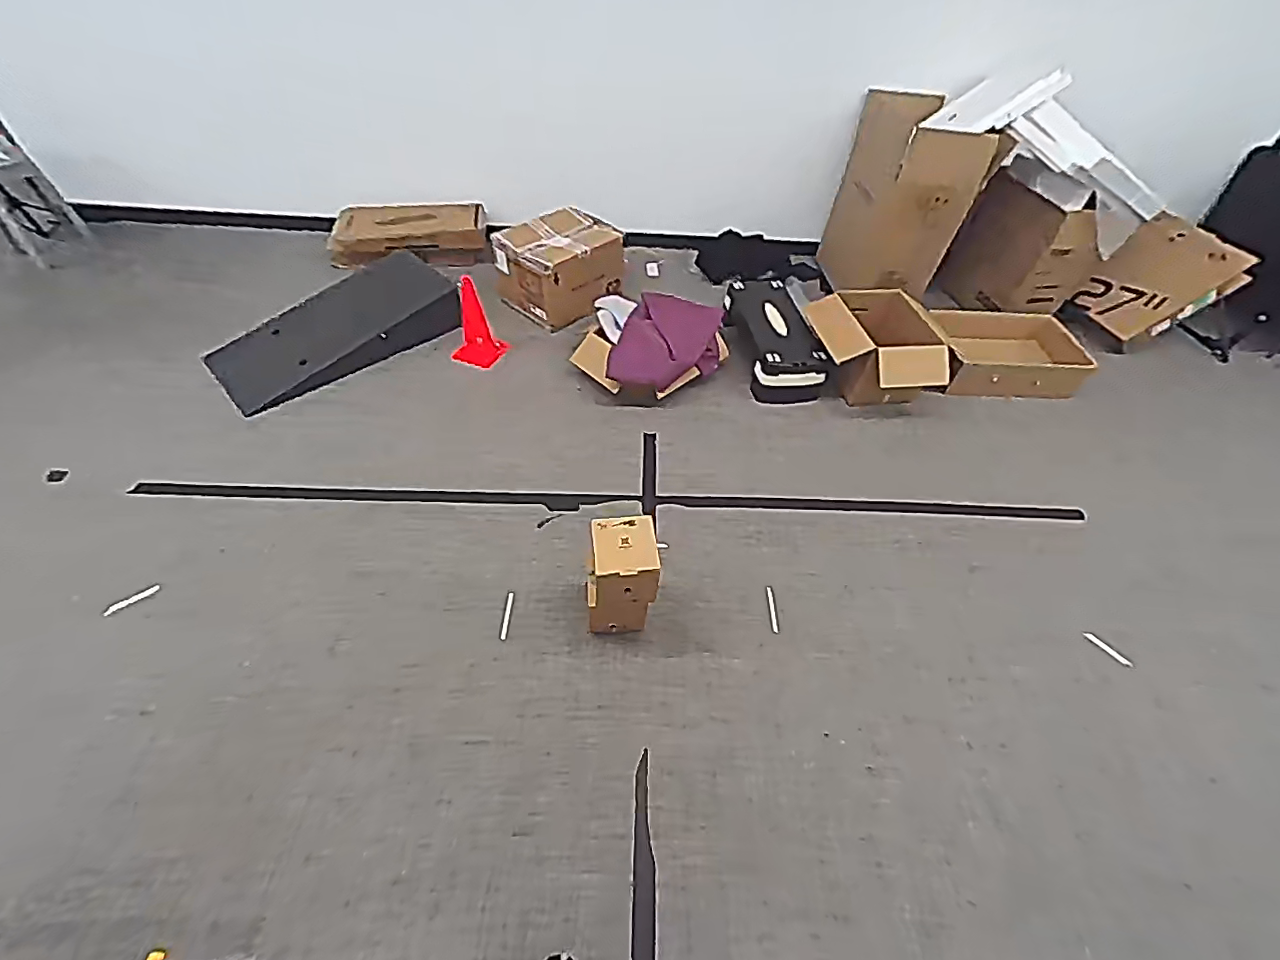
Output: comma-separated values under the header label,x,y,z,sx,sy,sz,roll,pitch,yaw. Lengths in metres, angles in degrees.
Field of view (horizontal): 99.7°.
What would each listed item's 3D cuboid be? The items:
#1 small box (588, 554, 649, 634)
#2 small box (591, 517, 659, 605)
label,x,y,z,sx,sy,sz,roll,pitch,yaw
small box,-0.068,0.330,1.578,0.168,0.176,0.179,-3,51,-6
small box,-0.043,0.224,1.454,0.168,0.176,0.179,-4,50,-6
